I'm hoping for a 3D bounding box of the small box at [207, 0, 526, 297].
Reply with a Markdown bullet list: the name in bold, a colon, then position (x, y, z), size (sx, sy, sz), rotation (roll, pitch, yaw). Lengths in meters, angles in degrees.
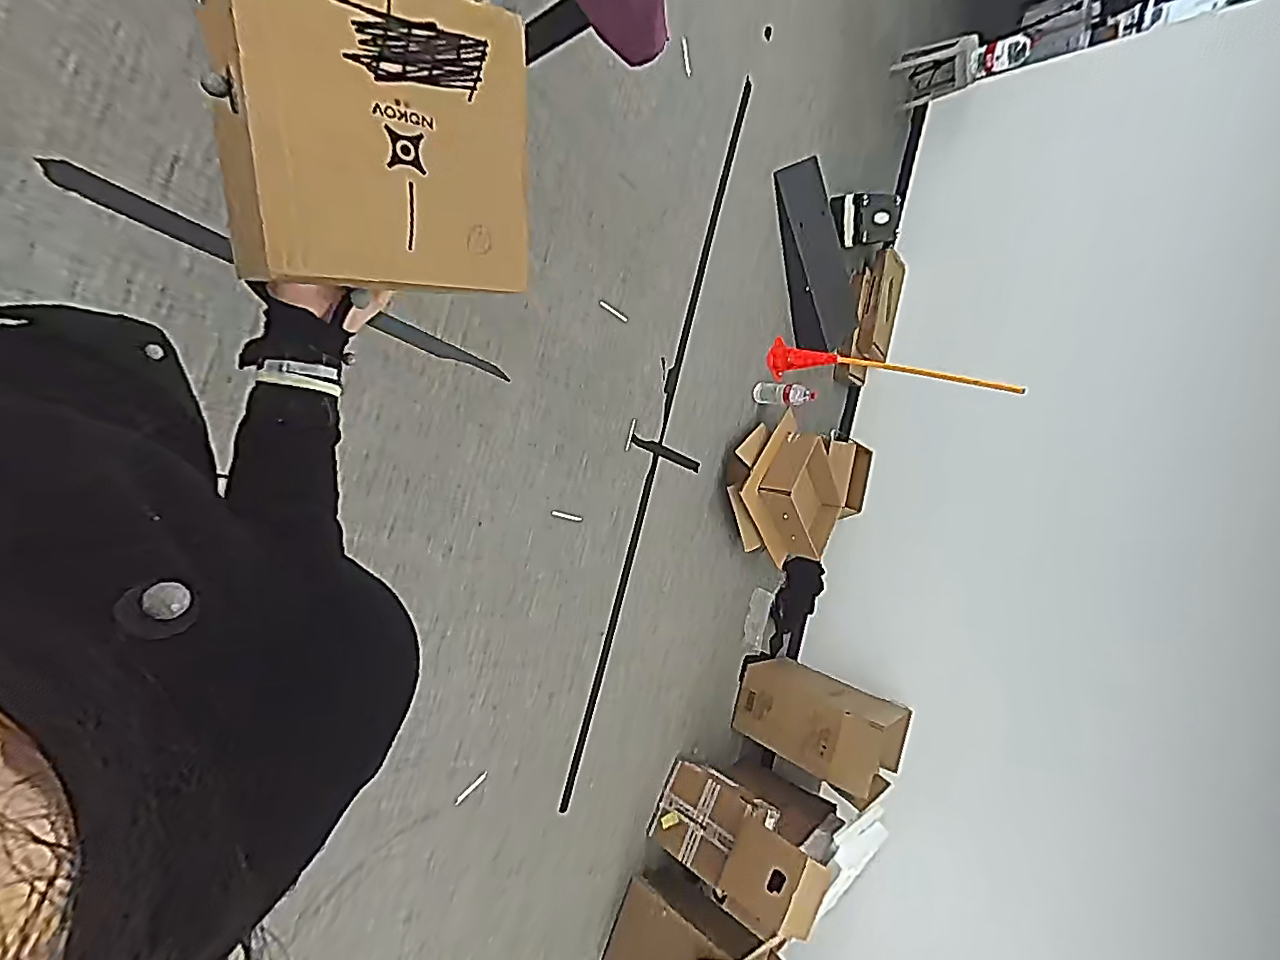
- **small box**: position (-0.198, -0.233, 0.398), size (0.168, 0.176, 0.179), rotation (-11, 112, -39)
